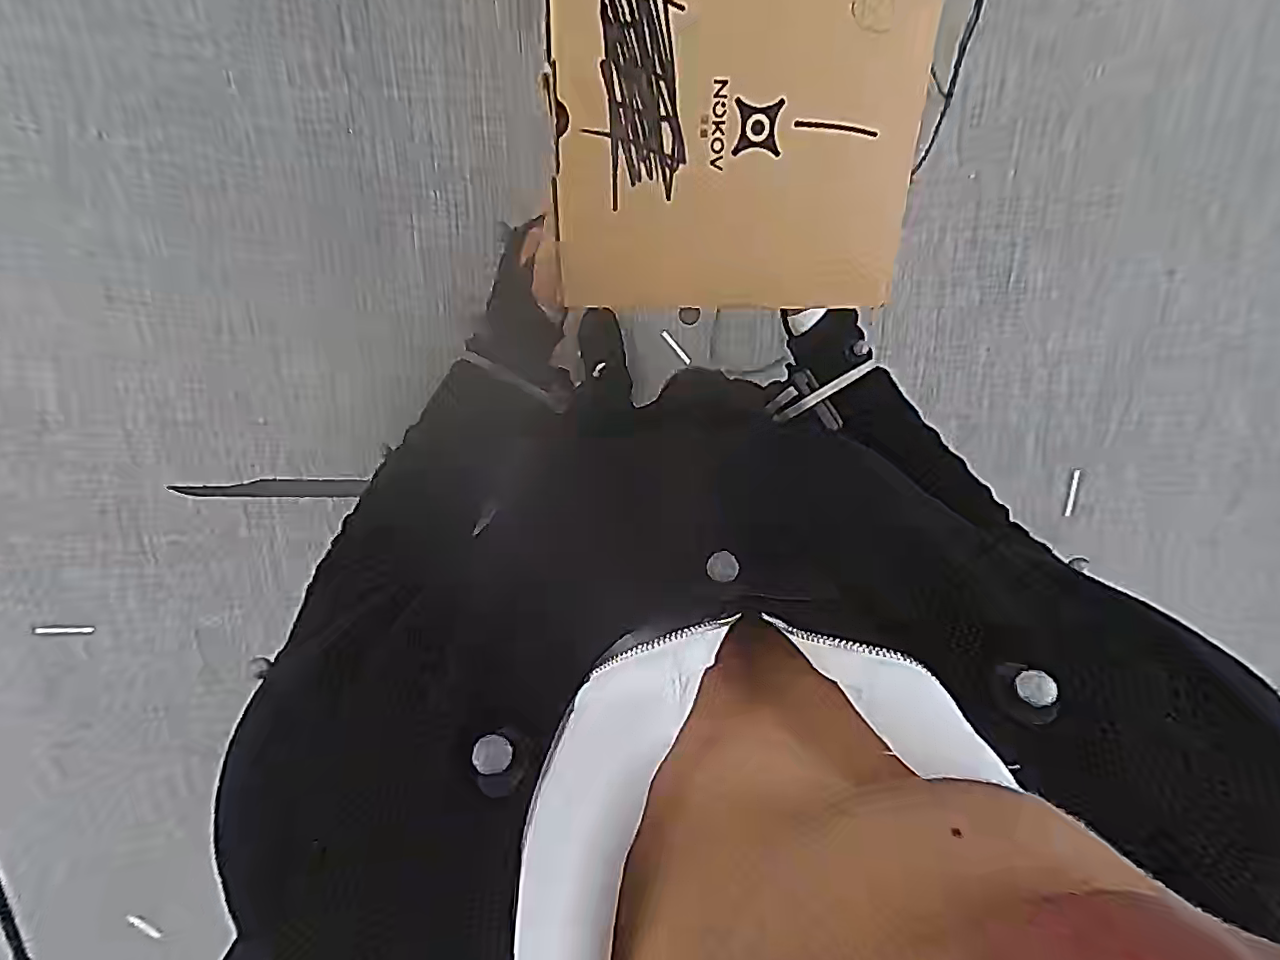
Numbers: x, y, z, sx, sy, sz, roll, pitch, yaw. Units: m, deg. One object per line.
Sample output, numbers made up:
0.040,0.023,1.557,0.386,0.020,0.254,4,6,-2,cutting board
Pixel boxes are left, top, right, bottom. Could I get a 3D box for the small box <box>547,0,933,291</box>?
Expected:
0.040,-0.209,0.329,0.179,0.176,0.168,-1,115,-5,small box
